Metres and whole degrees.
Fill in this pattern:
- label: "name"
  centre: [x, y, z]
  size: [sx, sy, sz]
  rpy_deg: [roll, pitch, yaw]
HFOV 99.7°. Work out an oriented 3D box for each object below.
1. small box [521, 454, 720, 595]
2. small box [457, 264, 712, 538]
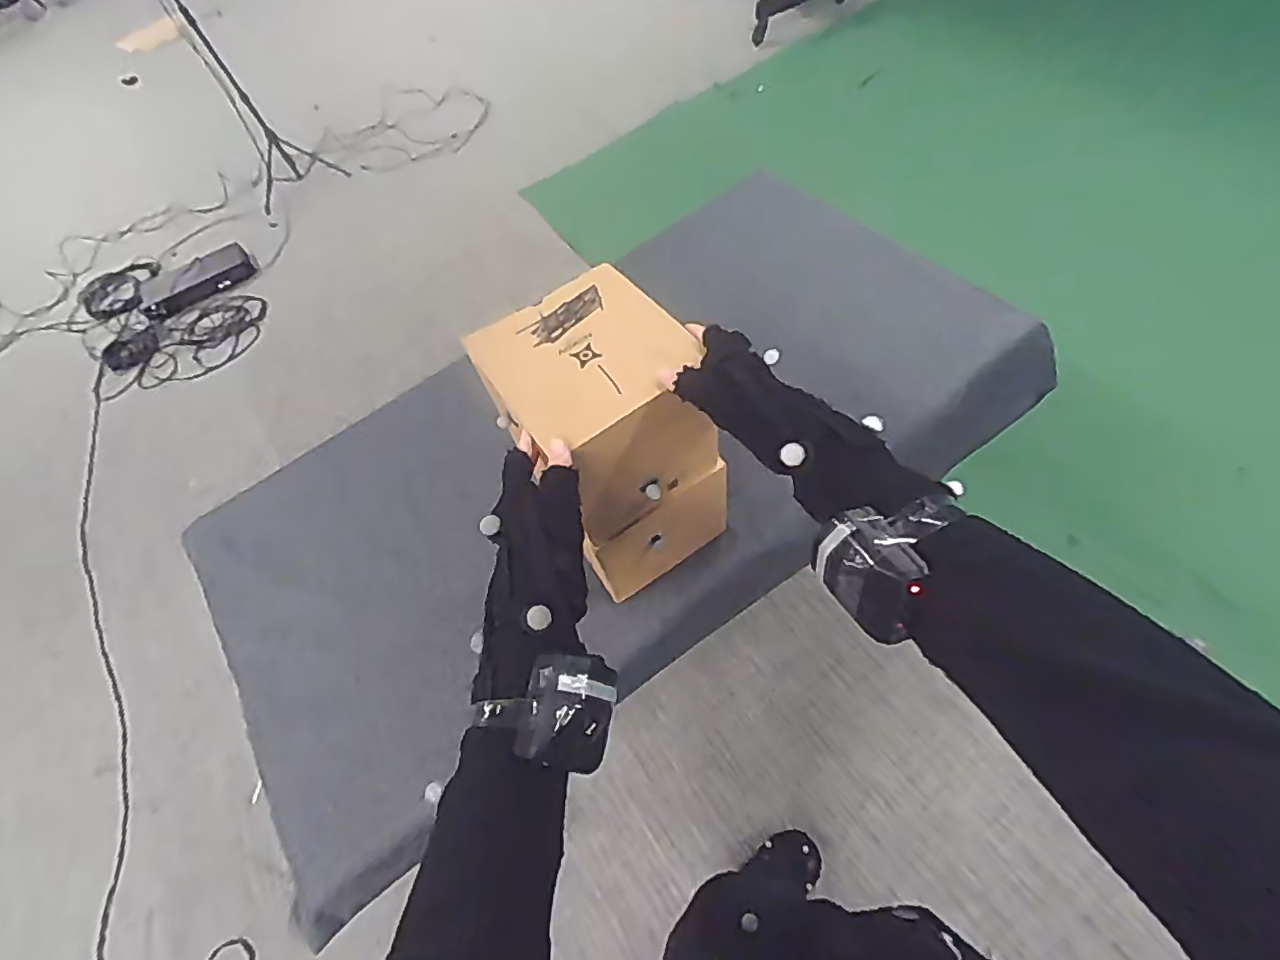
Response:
- label: "small box"
  centre: [-0.014, 0.016, 0.676]
  size: [0.179, 0.176, 0.168]
  rpy_deg: [-34, 60, -10]
- label: "small box"
  centre: [-0.045, -0.074, 0.541]
  size: [0.168, 0.176, 0.179]
  rpy_deg: [-37, 59, -13]
